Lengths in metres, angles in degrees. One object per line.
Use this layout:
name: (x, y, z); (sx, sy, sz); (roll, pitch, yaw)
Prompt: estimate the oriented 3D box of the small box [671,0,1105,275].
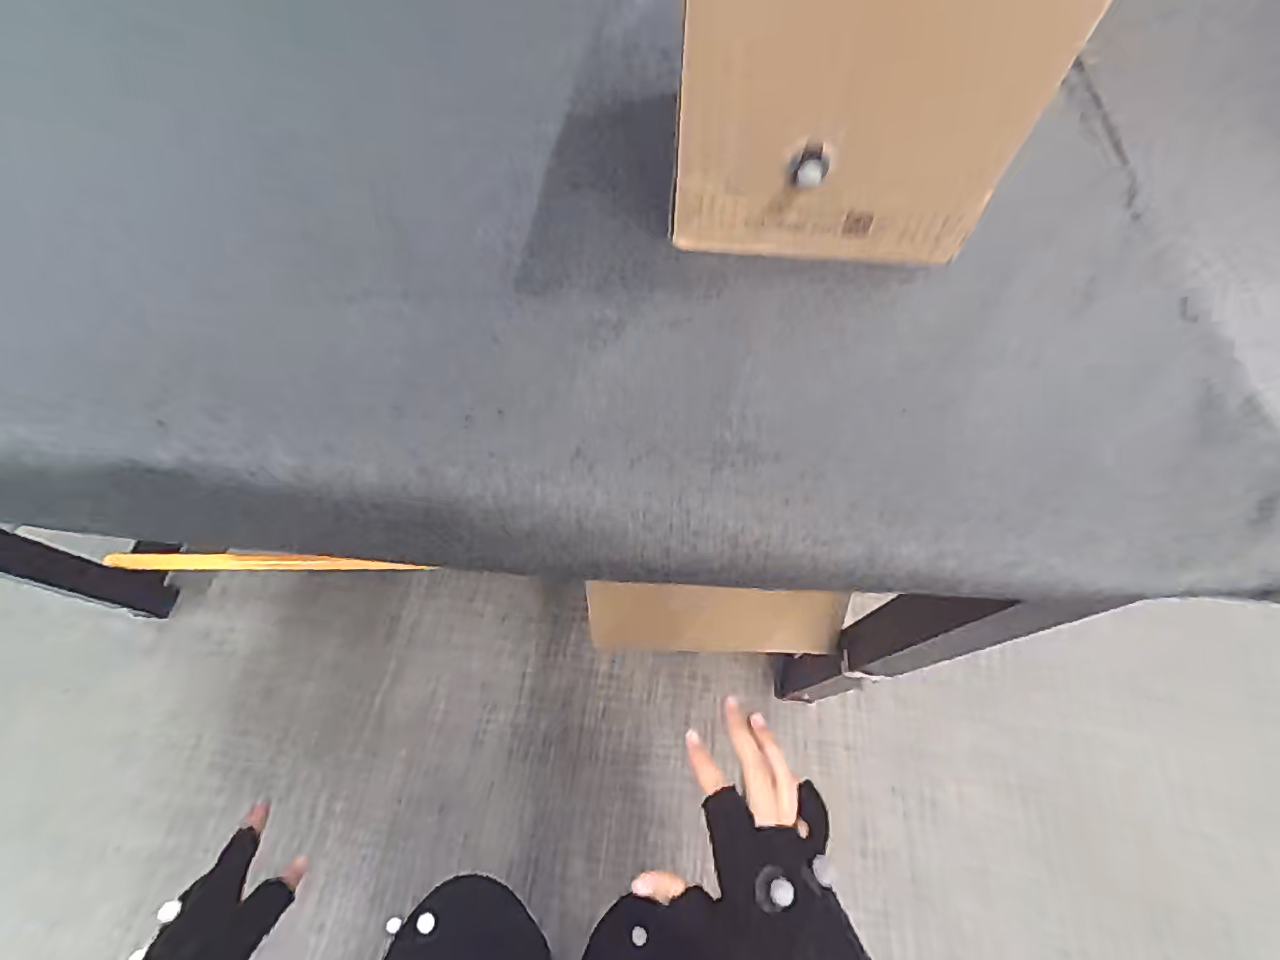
small box: (0.106, -0.243, 0.295); (0.168, 0.176, 0.179); (4, 64, 3)
